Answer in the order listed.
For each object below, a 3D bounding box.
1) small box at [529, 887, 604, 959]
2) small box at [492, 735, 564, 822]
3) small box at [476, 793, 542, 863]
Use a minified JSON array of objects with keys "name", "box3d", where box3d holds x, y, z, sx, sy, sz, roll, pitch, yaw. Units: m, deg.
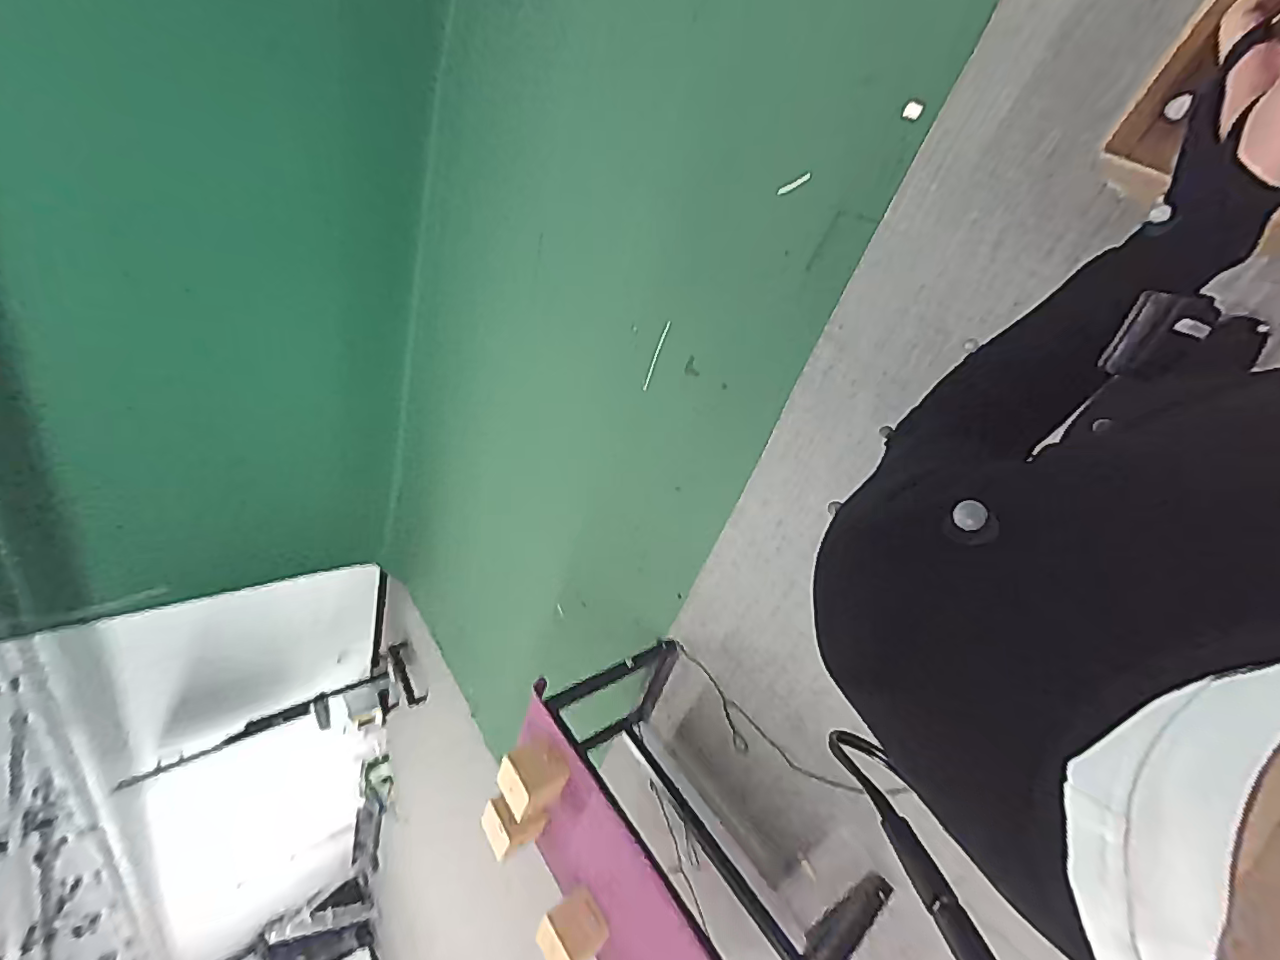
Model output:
[{"name":"small box","box3d":[-0.245,1.527,1.812,0.168,0.176,0.179,42,124,33]},{"name":"small box","box3d":[-0.386,1.026,1.867,0.168,0.176,0.179,44,126,31]},{"name":"small box","box3d":[-0.490,1.278,2.029,0.168,0.176,0.179,45,127,32]}]
